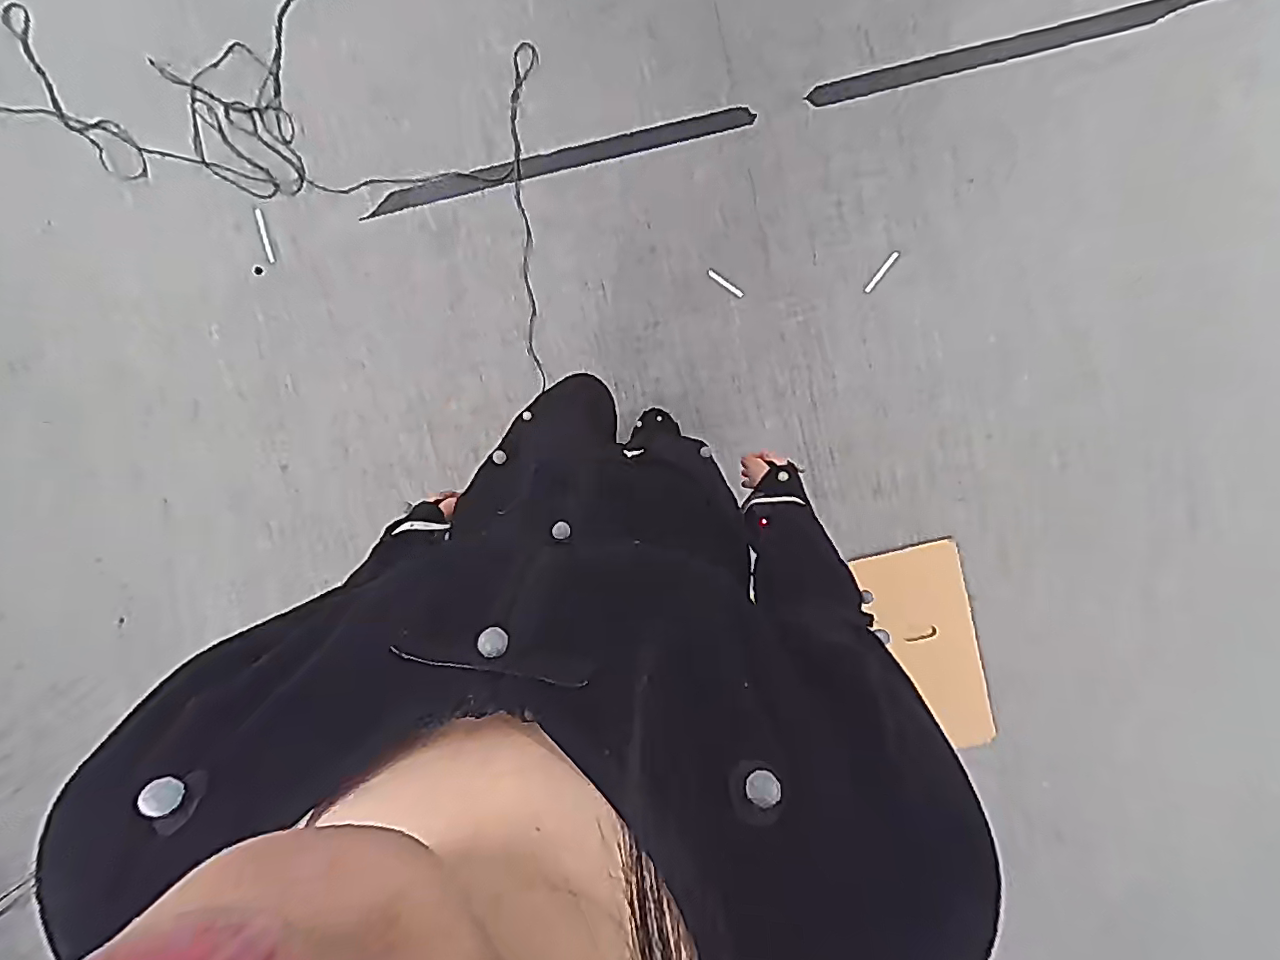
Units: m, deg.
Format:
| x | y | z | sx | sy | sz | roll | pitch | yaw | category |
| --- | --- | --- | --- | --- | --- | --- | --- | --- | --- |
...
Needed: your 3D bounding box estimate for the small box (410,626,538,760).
| x | y | z | sx | sy | sz | roll | pitch | yaw | category |
| --- | --- | --- | --- | --- | --- | --- | --- | --- | --- |
| -0.340 | 0.440 | 1.149 | 0.179 | 0.176 | 0.168 | 35 | 96 | -1 | small box |
